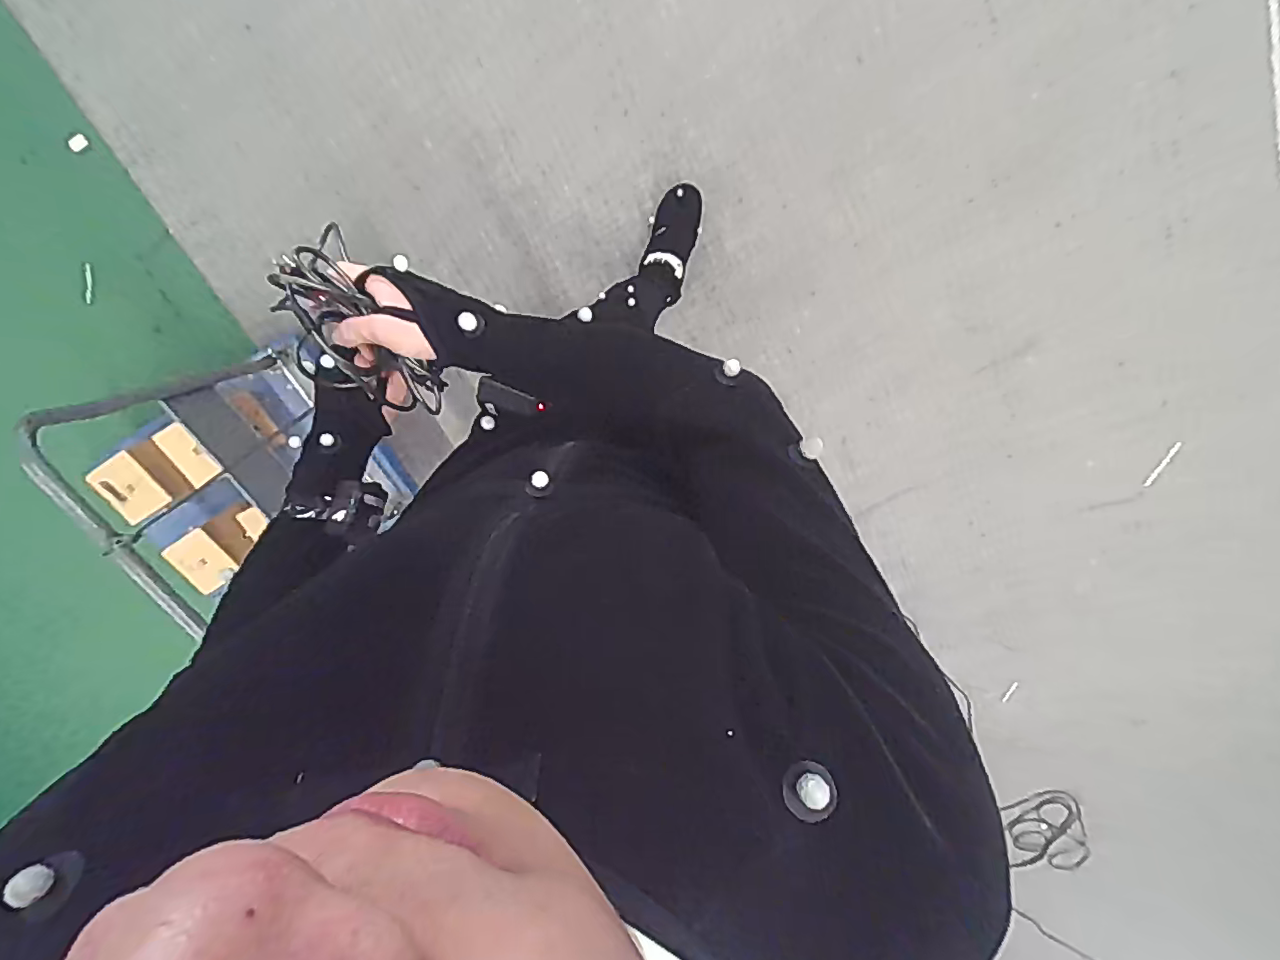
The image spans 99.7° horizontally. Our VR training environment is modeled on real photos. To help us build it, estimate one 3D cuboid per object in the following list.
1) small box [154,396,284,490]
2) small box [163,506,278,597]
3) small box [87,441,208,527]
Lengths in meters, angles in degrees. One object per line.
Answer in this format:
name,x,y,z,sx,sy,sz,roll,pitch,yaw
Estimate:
small box,-1.104,-0.102,1.434,0.179,0.176,0.168,-24,110,14
small box,-1.209,0.203,1.579,0.179,0.176,0.168,-28,108,16
small box,-1.339,-0.004,1.498,0.179,0.176,0.168,-26,110,15
